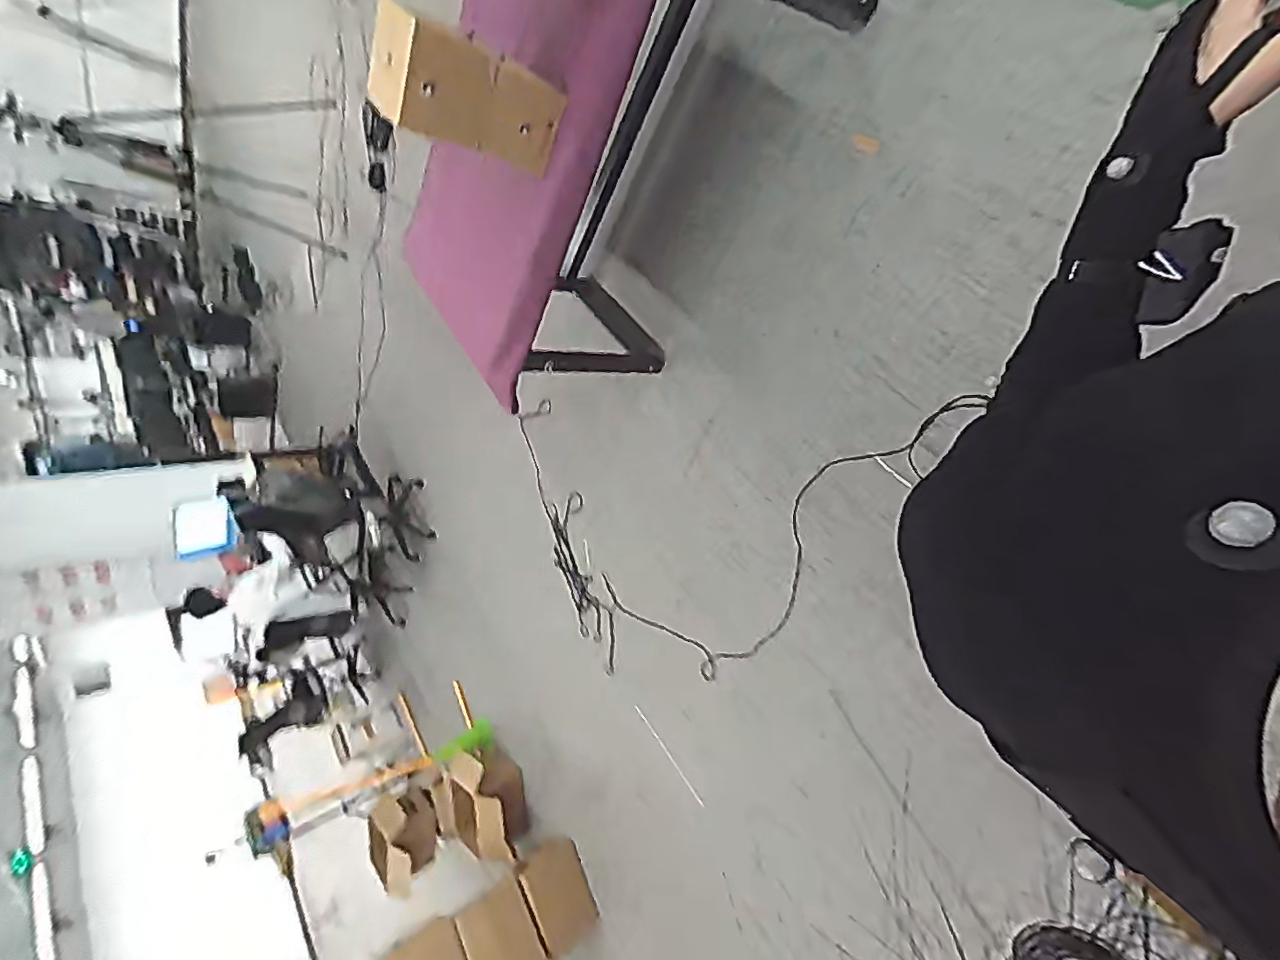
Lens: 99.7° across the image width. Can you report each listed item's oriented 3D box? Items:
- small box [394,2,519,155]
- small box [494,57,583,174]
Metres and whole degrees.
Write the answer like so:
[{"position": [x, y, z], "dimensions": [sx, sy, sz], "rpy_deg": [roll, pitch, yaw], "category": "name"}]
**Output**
[{"position": [-0.364, -0.783, 1.073], "dimensions": [0.168, 0.176, 0.179], "rpy_deg": [52, 130, 26], "category": "small box"}, {"position": [-0.251, -0.803, 1.189], "dimensions": [0.179, 0.176, 0.168], "rpy_deg": [53, 130, 27], "category": "small box"}]
